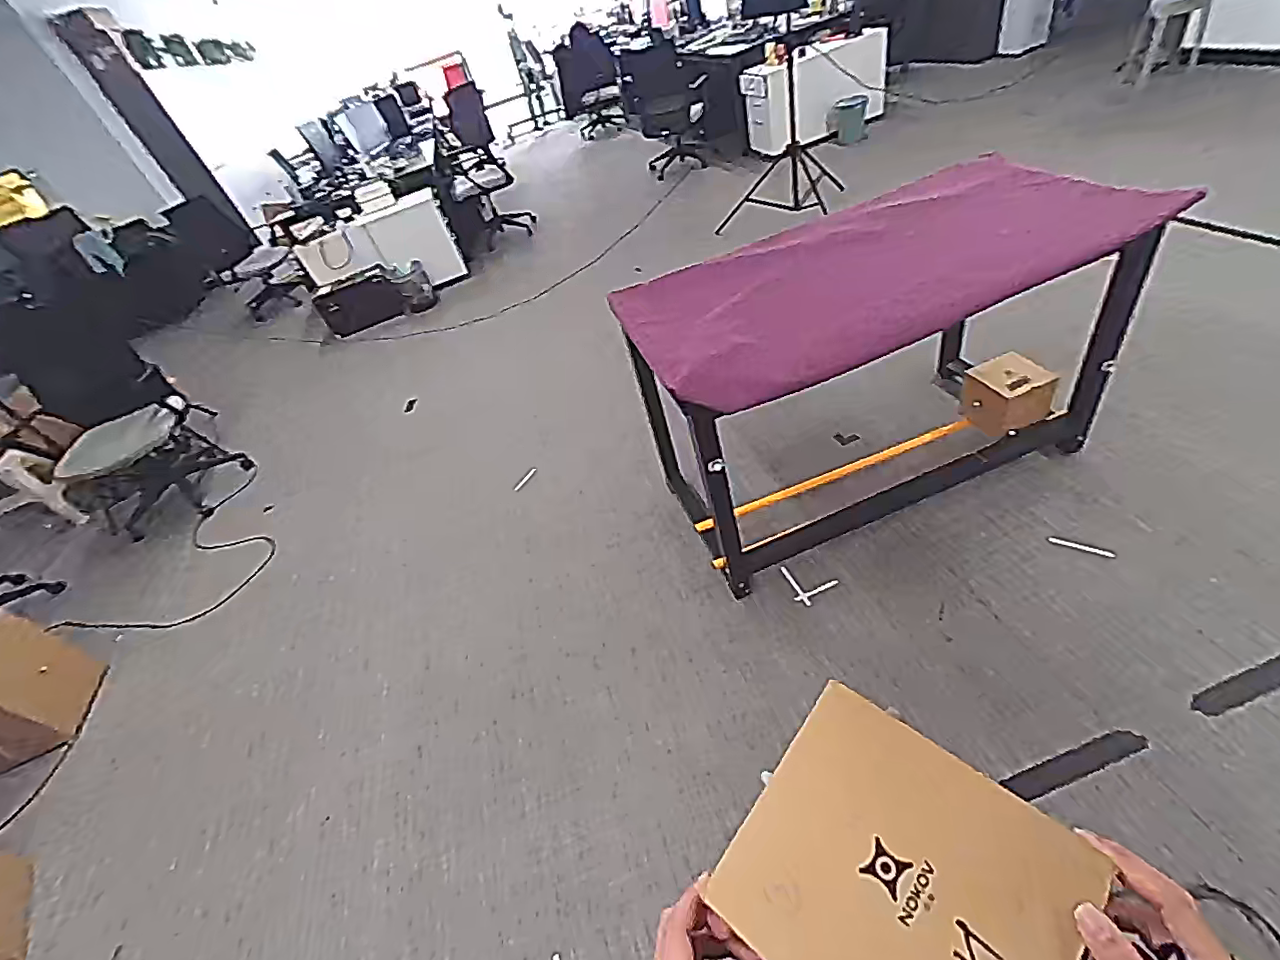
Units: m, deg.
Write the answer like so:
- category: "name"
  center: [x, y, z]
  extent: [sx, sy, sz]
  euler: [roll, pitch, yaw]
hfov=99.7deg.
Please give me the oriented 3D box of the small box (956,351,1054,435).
- category: "small box"
  center: [1.096, -0.256, 1.639]
  extent: [0.168, 0.176, 0.179]
  euler: [-23, 41, -3]

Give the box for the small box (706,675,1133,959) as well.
- category: "small box"
  center: [0.171, 0.274, 0.373]
  extent: [0.179, 0.176, 0.168]
  euler: [29, 68, 32]
